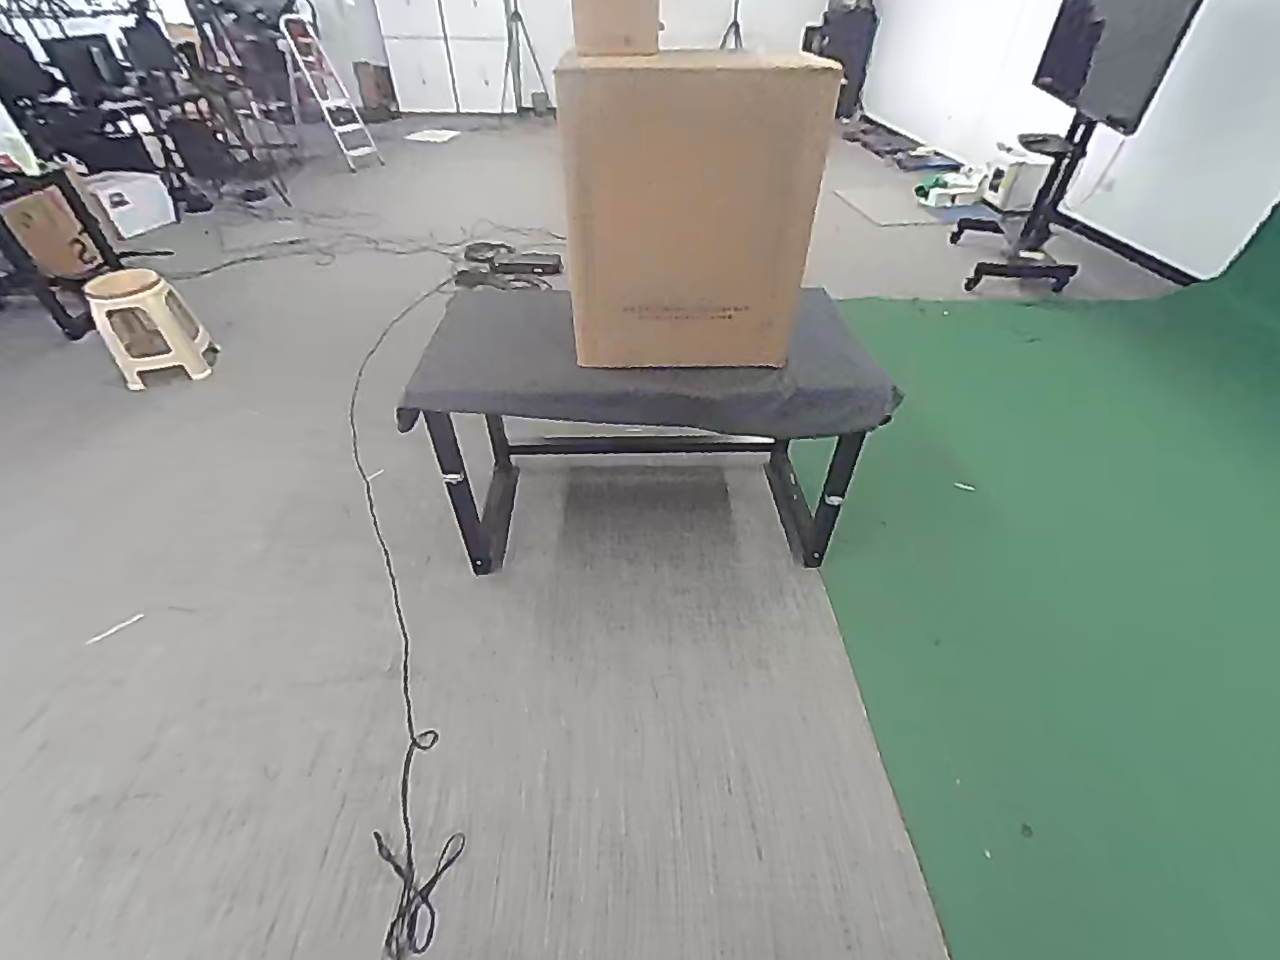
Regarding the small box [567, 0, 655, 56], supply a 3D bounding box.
[{"bbox_3d":[-0.056,-0.948,1.064,0.168,0.176,0.179,-3,42,0],"label":"small box"}]
